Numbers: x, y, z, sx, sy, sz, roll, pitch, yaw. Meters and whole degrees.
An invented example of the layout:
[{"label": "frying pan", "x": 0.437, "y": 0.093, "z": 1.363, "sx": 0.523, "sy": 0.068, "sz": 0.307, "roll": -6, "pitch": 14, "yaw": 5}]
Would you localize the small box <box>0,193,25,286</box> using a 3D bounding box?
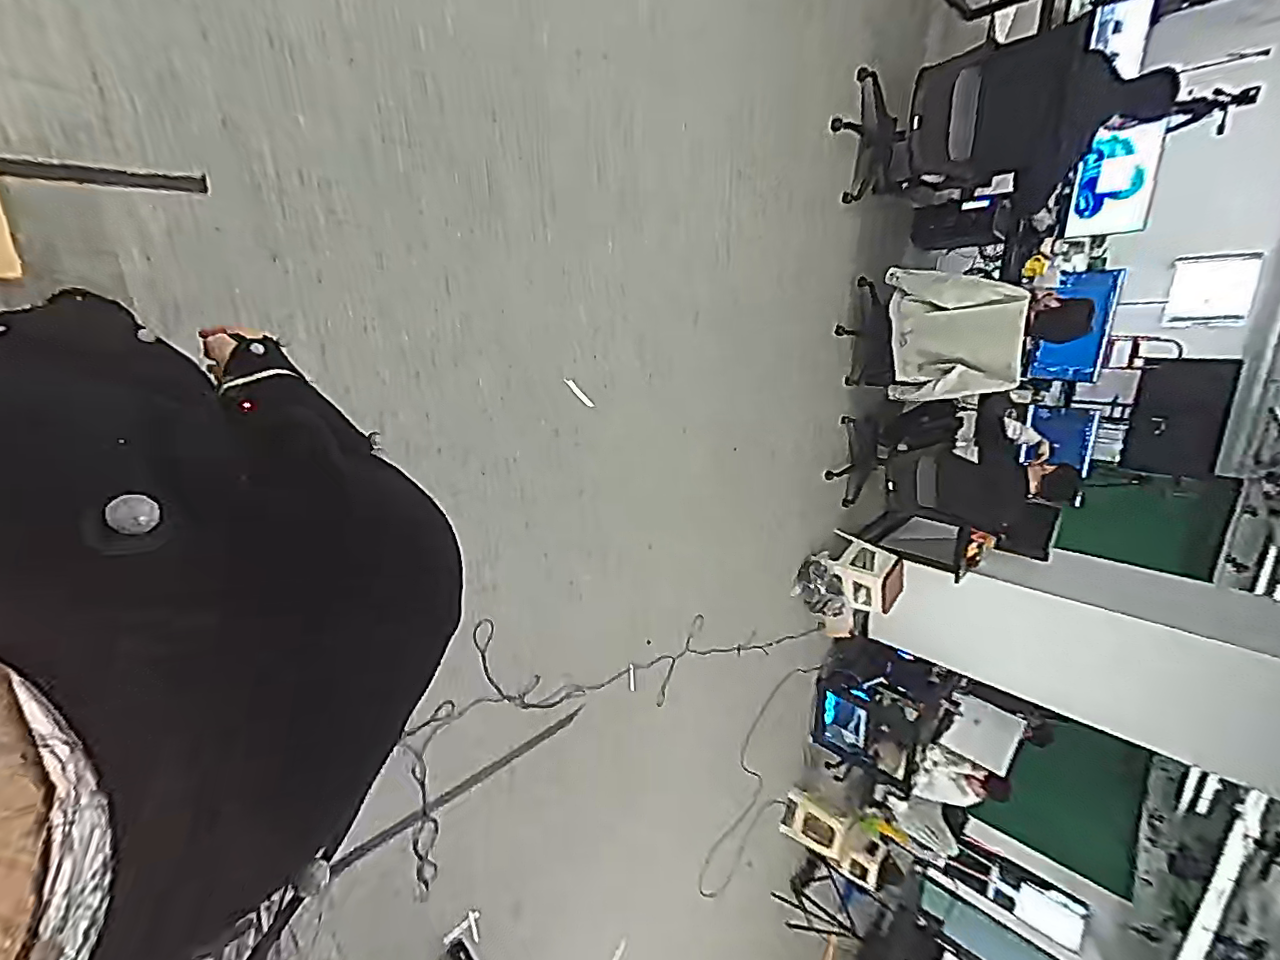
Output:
[{"label": "small box", "x": -1.113, "y": -0.402, "z": 0.849, "sx": 0.168, "sy": 0.176, "sz": 0.179, "roll": -16, "pitch": 113, "yaw": -43}]
